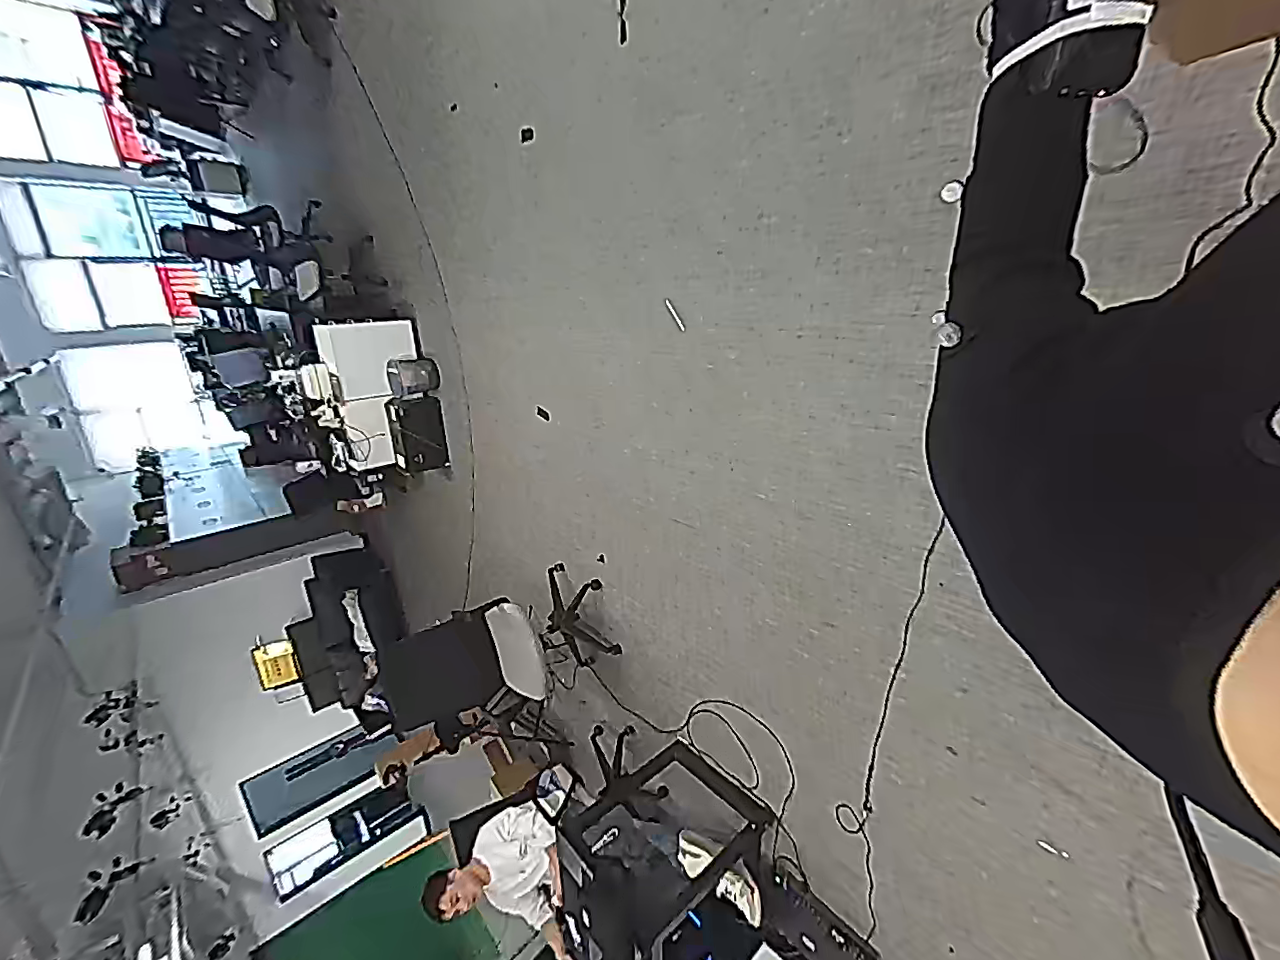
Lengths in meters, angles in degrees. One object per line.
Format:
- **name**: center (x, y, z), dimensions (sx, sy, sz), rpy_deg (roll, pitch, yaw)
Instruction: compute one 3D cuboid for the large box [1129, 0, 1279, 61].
- **large box**: center (0.533, -0.498, 0.268), dimensions (0.408, 0.320, 0.320), rpy_deg (9, 116, 48)
